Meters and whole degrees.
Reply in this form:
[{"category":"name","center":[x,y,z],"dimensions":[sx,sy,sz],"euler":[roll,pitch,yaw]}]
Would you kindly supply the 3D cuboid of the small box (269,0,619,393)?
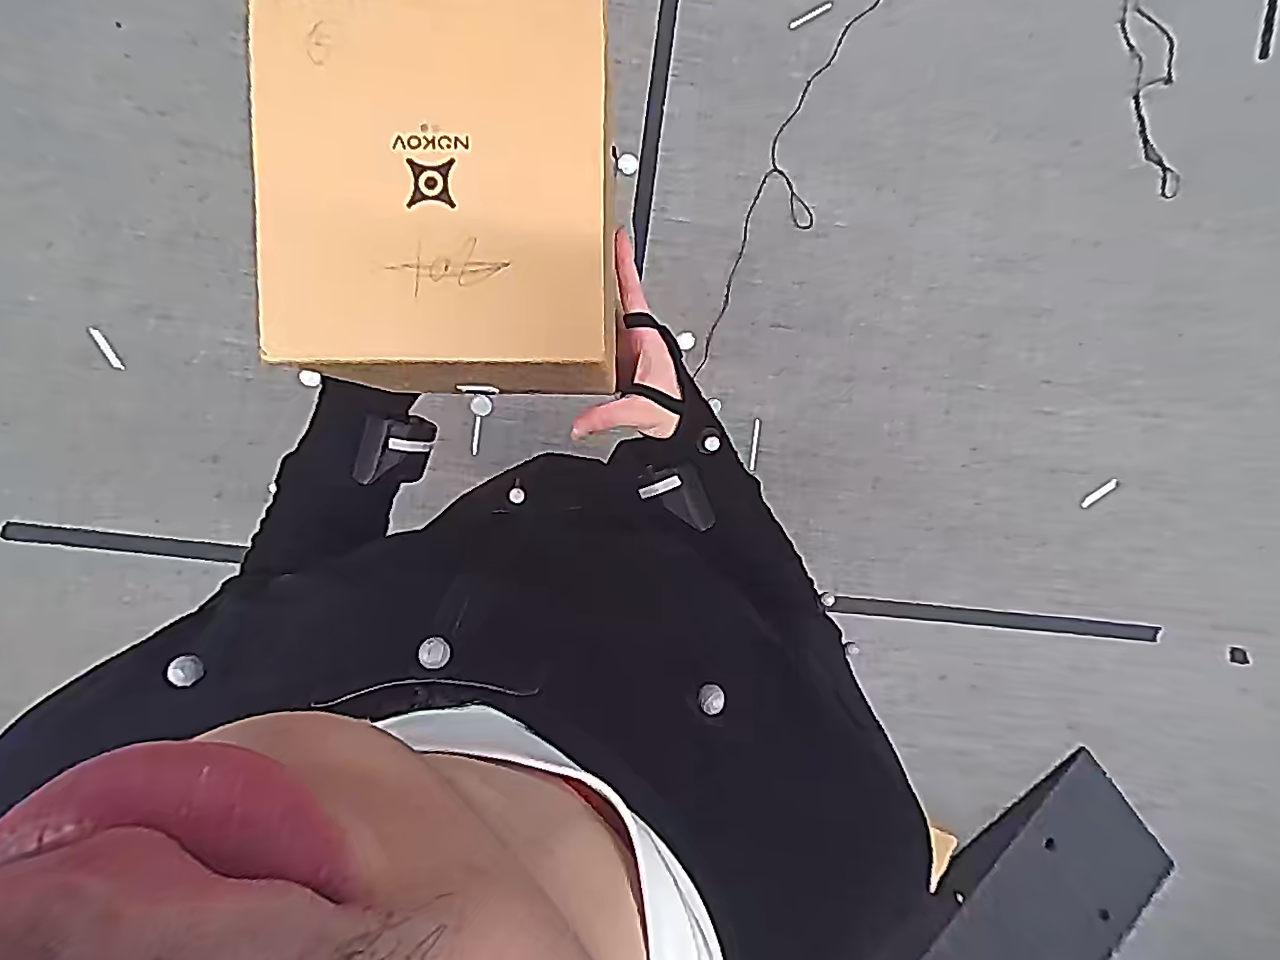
[{"category":"small box","center":[-0.100,-0.153,0.347],"dimensions":[0.168,0.176,0.179],"euler":[0,94,-1]}]
